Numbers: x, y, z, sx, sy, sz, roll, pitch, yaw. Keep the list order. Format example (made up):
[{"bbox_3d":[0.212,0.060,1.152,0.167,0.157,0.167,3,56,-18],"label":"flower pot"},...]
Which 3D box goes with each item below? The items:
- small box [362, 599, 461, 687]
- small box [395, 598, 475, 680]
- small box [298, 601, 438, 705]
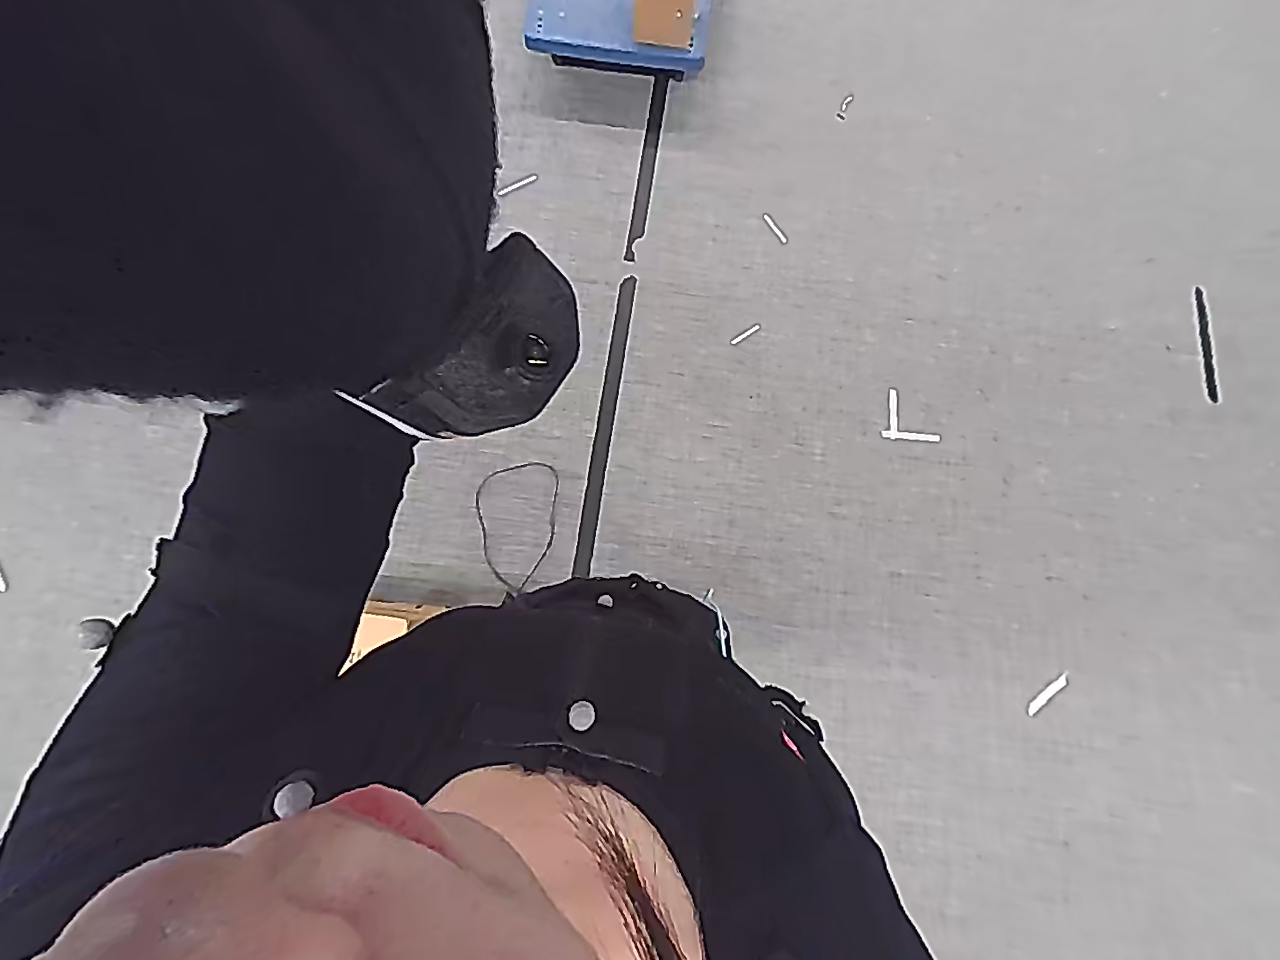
[{"bbox_3d":[-0.534,0.366,1.238,0.179,0.176,0.168,7,78,0],"label":"small box"},{"bbox_3d":[-0.540,0.405,1.397,0.168,0.176,0.179,8,77,-1],"label":"small box"},{"bbox_3d":[-0.528,0.336,1.075,0.179,0.176,0.168,8,78,-1],"label":"small box"}]
